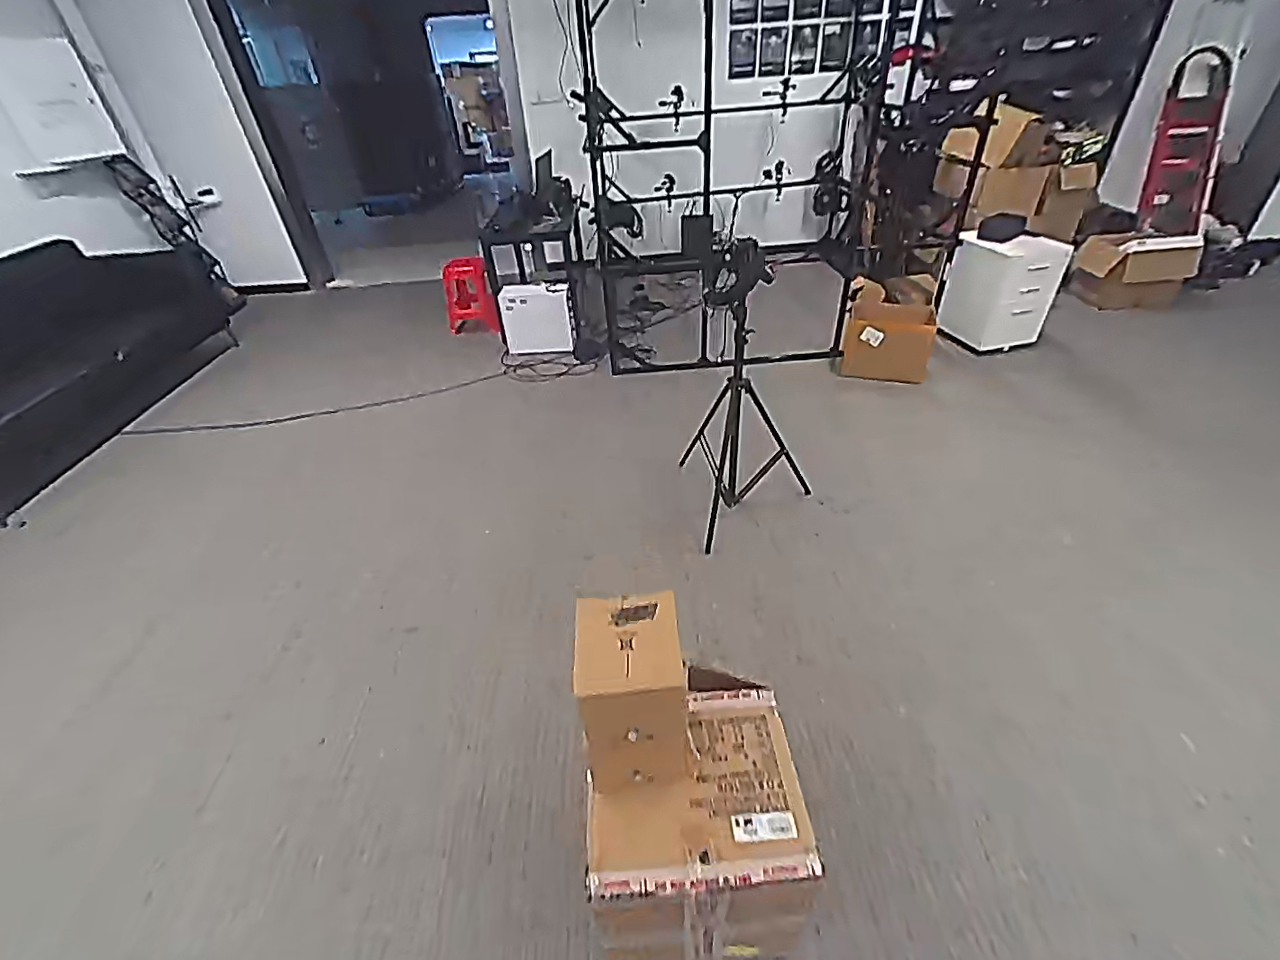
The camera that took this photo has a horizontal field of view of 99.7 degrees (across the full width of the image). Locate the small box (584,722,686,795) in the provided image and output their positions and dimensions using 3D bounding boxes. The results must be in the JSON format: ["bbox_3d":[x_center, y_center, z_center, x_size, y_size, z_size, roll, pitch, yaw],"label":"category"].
[{"bbox_3d":[-0.011,0.446,0.998,0.168,0.176,0.179,-9,39,-2],"label":"small box"}]

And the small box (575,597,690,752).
[{"bbox_3d":[-0.010,0.319,0.892,0.168,0.176,0.179,-6,39,1],"label":"small box"}]
